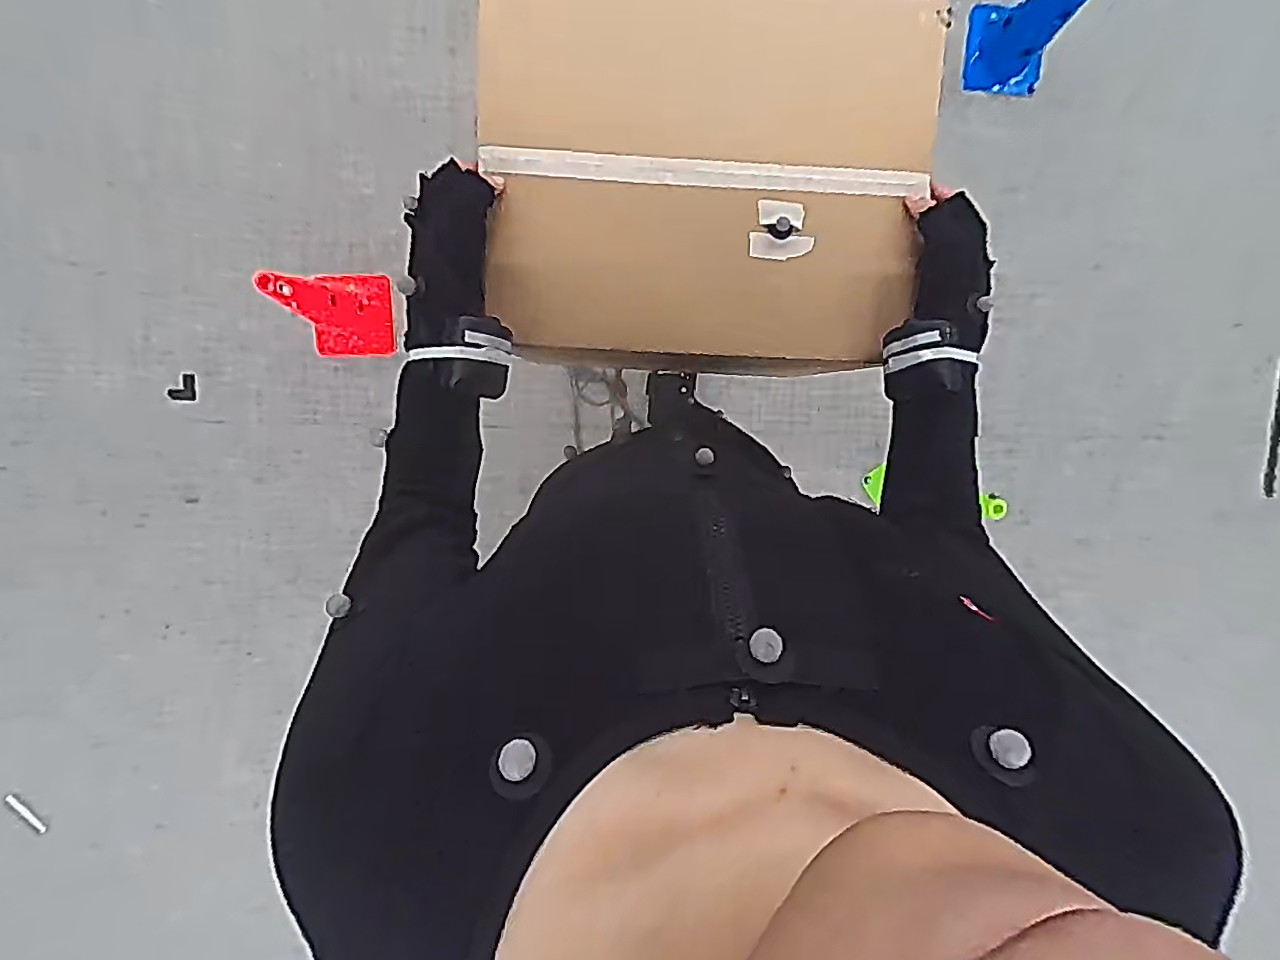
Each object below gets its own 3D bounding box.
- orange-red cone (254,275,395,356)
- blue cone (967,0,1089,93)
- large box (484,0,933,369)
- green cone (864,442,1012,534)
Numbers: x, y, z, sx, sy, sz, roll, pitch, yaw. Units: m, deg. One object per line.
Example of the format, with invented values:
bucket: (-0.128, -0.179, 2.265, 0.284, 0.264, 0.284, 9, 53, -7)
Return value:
orange-red cone: (-0.720, -0.393, 1.202, 0.198, 0.360, 0.199, -1, 98, -1)
blue cone: (0.936, -1.070, 1.209, 0.192, 0.380, 0.193, 4, 97, -4)
large box: (0.051, -0.302, 0.637, 0.408, 0.320, 0.320, 2, 99, -4)
green cone: (0.751, 0.042, 1.315, 0.202, 0.368, 0.200, -36, 98, 0)
